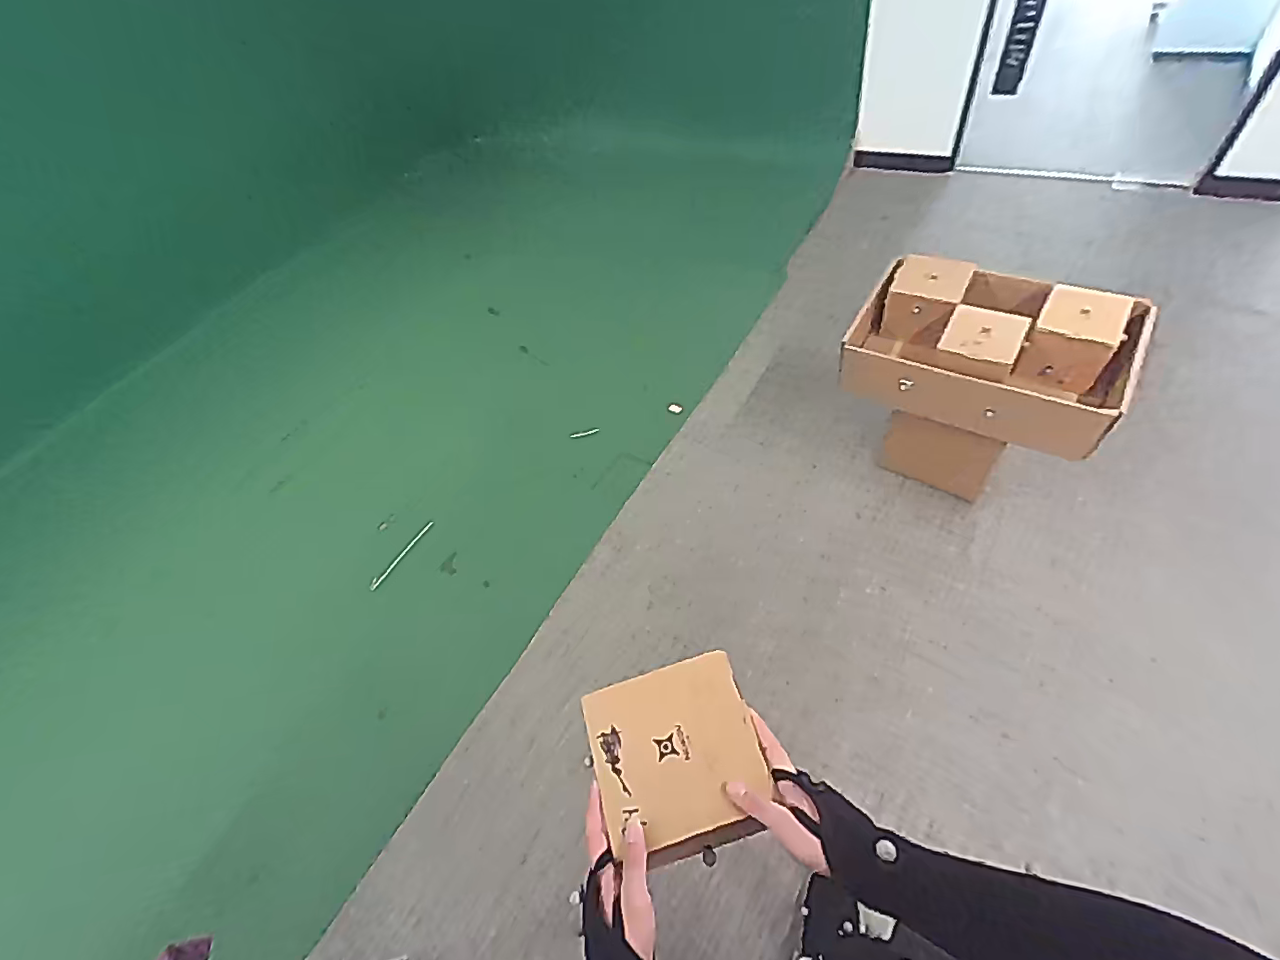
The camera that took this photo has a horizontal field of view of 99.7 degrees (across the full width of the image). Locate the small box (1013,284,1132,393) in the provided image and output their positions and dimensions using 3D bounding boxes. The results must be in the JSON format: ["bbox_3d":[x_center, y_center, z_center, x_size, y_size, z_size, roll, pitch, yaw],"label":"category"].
[{"bbox_3d":[1.066,-0.350,1.346,0.168,0.176,0.179,25,66,27],"label":"small box"}]

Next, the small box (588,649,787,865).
[{"bbox_3d":[0.051,0.325,0.630,0.179,0.176,0.168,-16,50,-3],"label":"small box"}]
